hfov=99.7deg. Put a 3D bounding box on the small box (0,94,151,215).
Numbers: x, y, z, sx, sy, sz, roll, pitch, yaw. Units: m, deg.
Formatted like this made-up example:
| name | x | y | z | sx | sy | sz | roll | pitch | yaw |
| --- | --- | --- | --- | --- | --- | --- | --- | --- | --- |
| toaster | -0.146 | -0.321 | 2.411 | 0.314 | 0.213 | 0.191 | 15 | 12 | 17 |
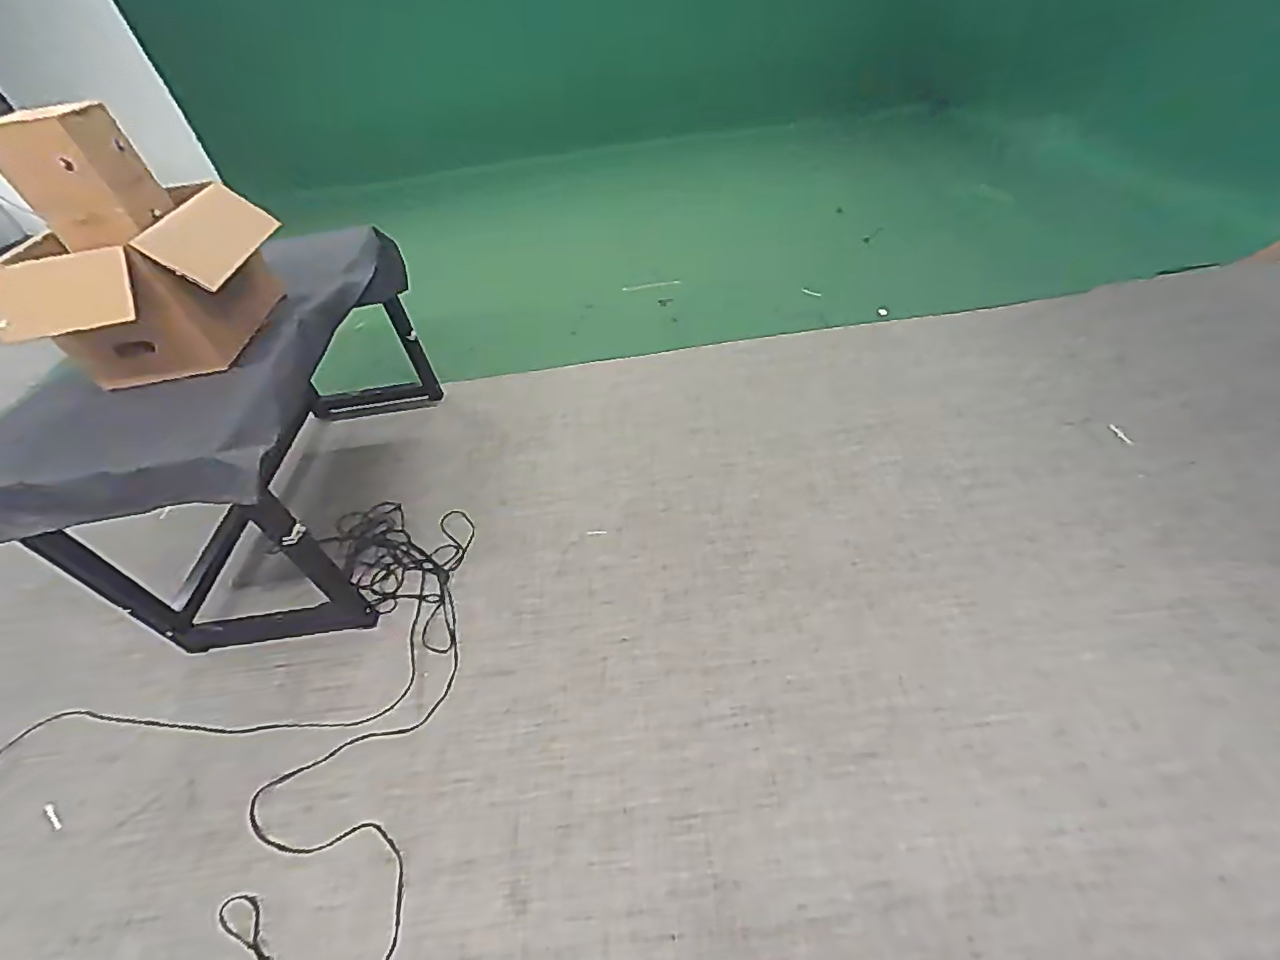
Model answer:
| name | x | y | z | sx | sy | sz | roll | pitch | yaw |
| --- | --- | --- | --- | --- | --- | --- | --- | --- | --- |
| small box | -1.201 | -0.683 | 1.137 | 0.179 | 0.176 | 0.168 | -12 | 45 | -2 |
